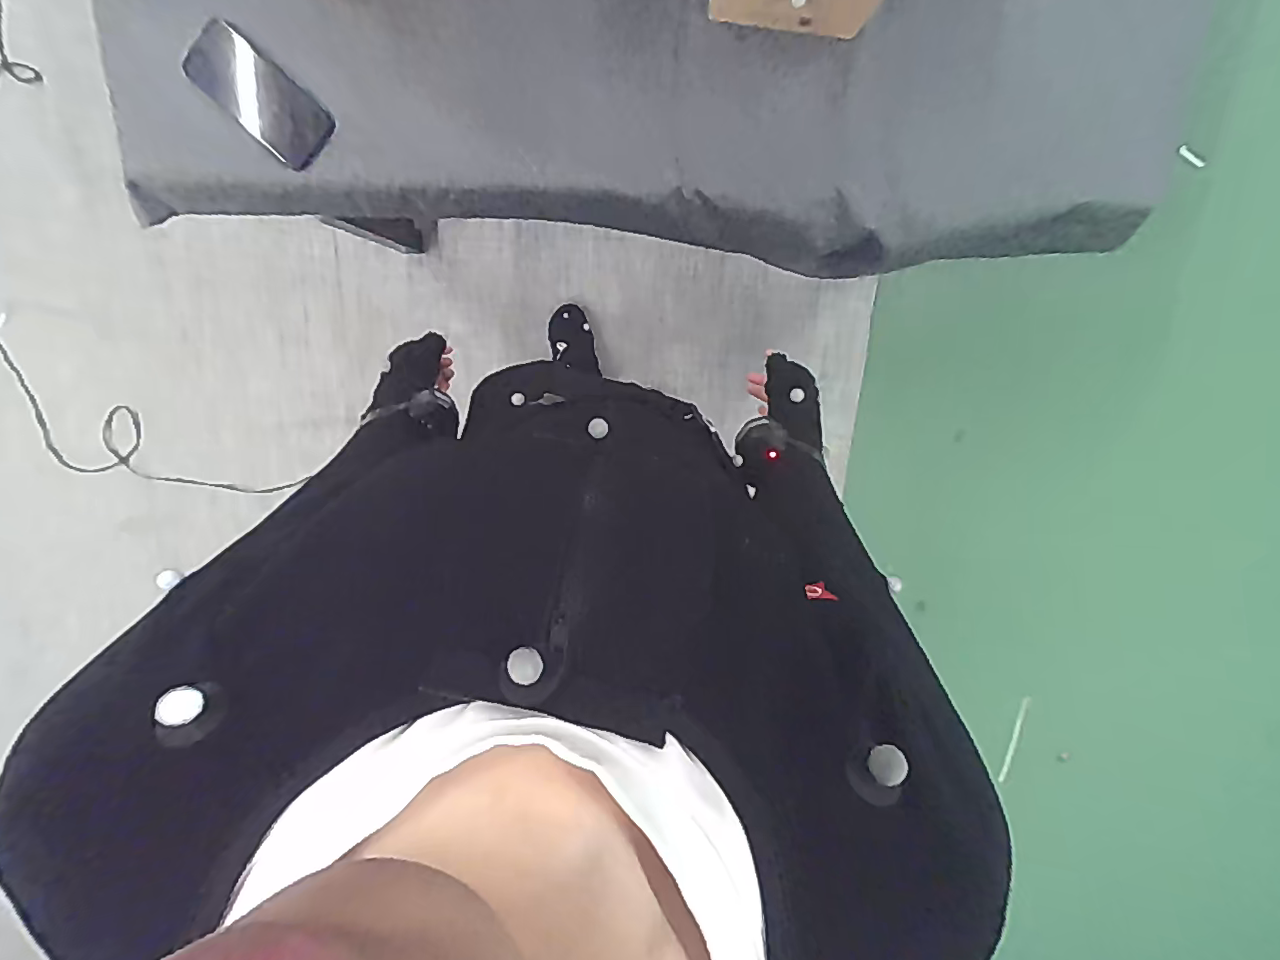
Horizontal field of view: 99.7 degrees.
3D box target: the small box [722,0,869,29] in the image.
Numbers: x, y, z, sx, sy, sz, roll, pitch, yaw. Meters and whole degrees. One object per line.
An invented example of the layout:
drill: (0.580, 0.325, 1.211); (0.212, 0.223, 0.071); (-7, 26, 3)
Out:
small box: (0.165, -0.565, 0.499); (0.168, 0.176, 0.179); (6, 105, -2)
